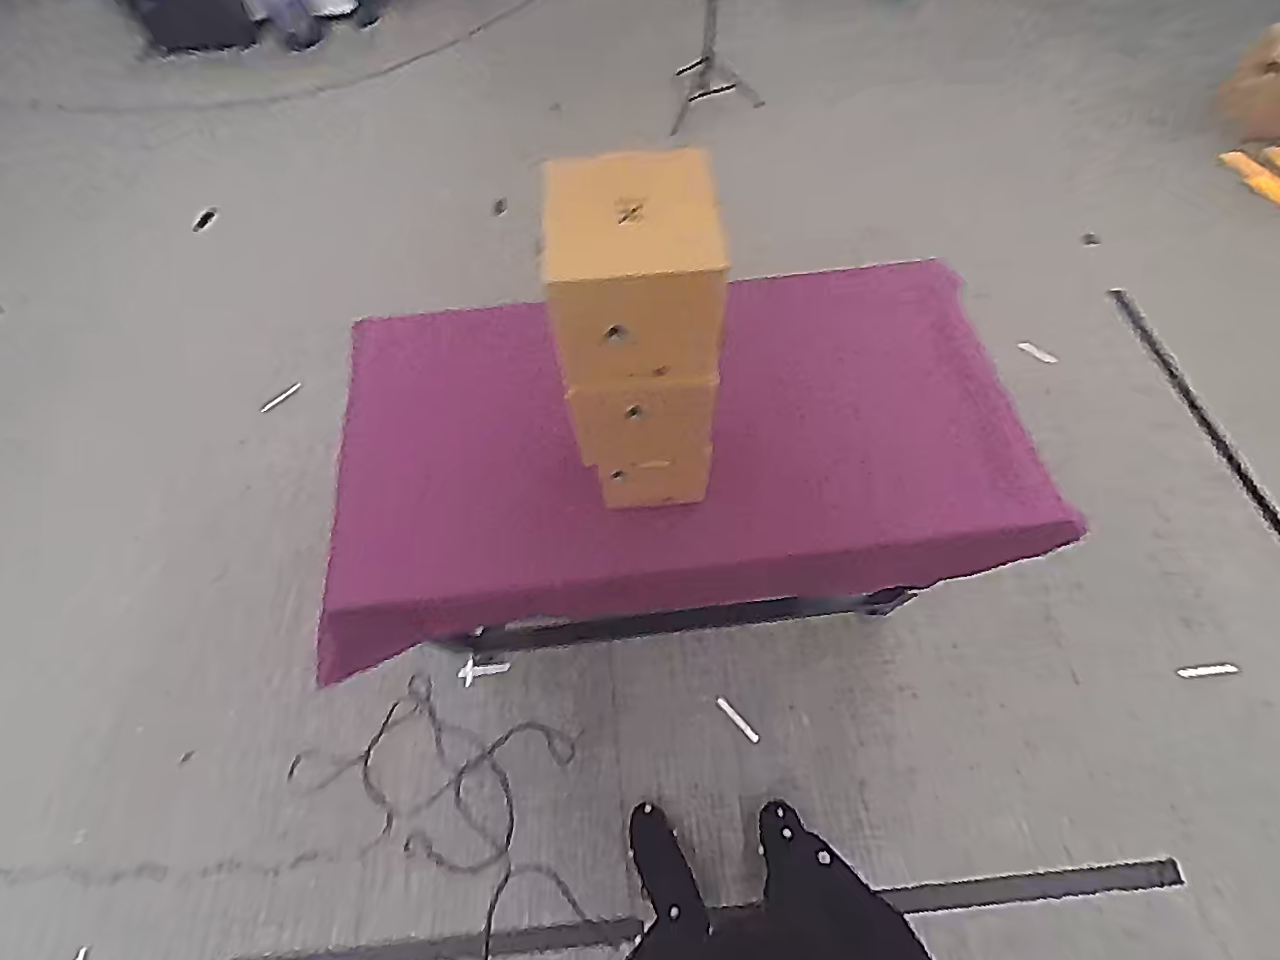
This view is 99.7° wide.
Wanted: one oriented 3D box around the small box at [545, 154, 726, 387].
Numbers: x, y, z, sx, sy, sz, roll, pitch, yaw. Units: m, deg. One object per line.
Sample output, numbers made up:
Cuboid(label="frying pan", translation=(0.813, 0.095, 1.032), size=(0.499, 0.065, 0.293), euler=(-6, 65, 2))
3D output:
Cuboid(label="small box", translation=(-0.004, -0.214, 0.586), size=(0.168, 0.176, 0.179), euler=(-5, 62, 0))

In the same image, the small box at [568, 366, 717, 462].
Cuboid(label="small box", translation=(0.002, -0.134, 0.728), size=(0.179, 0.176, 0.168), euler=(-4, 63, 0))
